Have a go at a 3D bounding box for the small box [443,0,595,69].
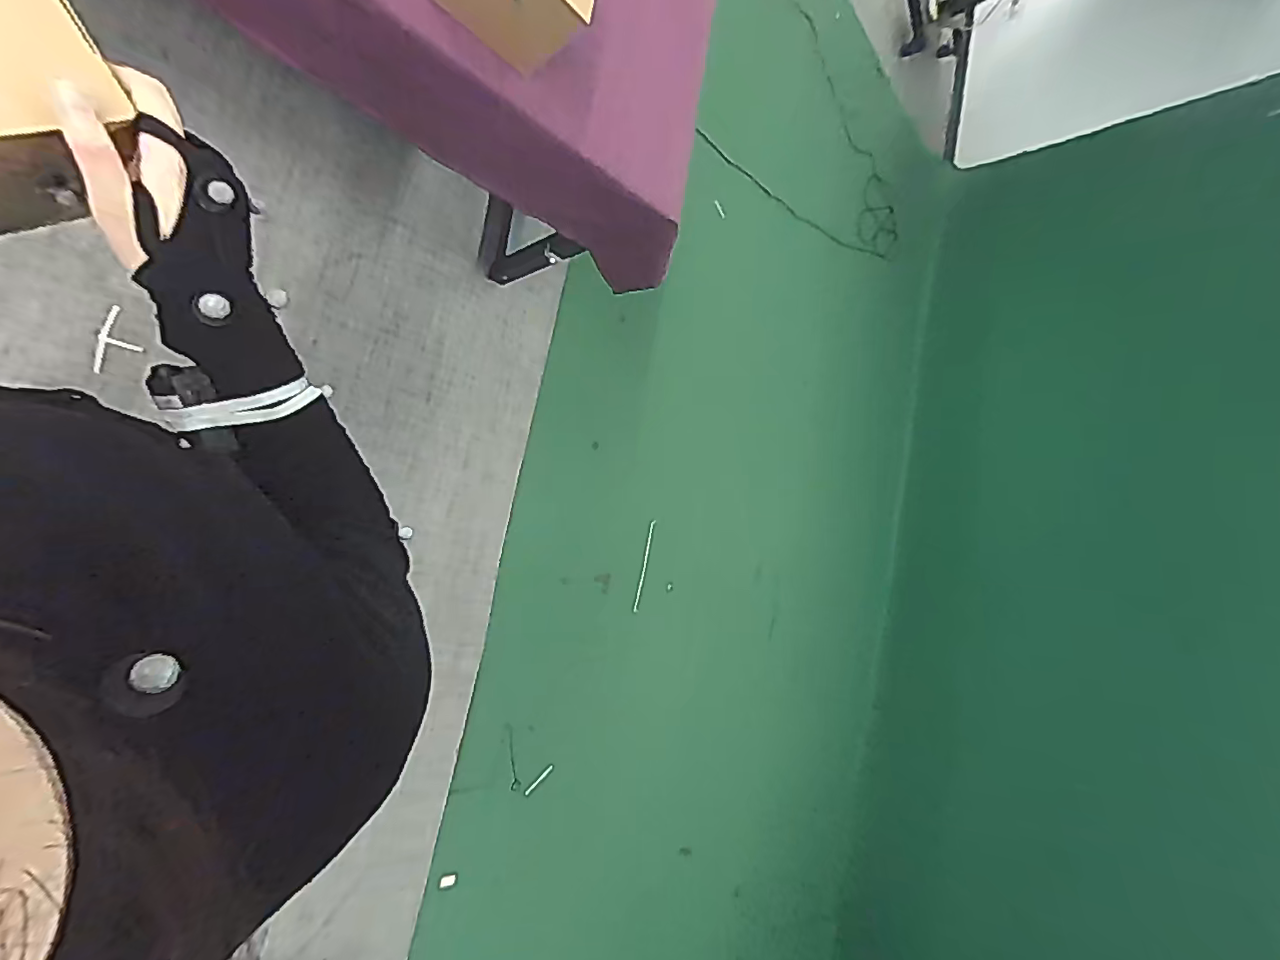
[{"bbox_3d":[-0.173,-0.749,0.777,0.179,0.176,0.168,15,83,-44],"label":"small box"}]
